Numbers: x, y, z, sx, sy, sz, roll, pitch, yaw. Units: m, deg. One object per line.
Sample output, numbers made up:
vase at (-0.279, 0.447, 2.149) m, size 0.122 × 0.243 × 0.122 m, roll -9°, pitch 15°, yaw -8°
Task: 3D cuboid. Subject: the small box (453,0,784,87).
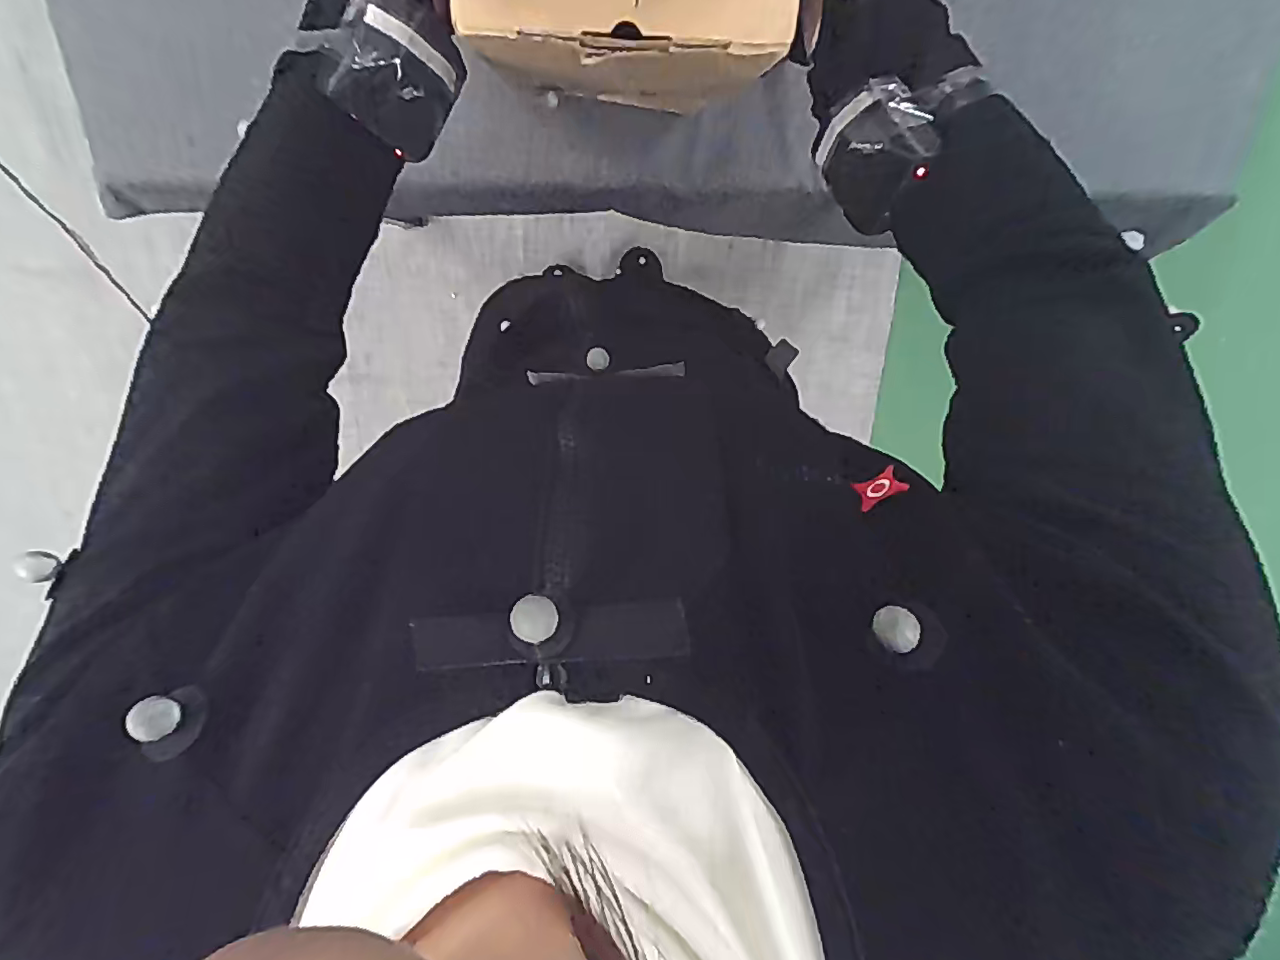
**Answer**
small box at (-0.012, -0.333, 0.299) m, size 0.168 × 0.176 × 0.179 m, roll -2°, pitch 118°, yaw -1°
